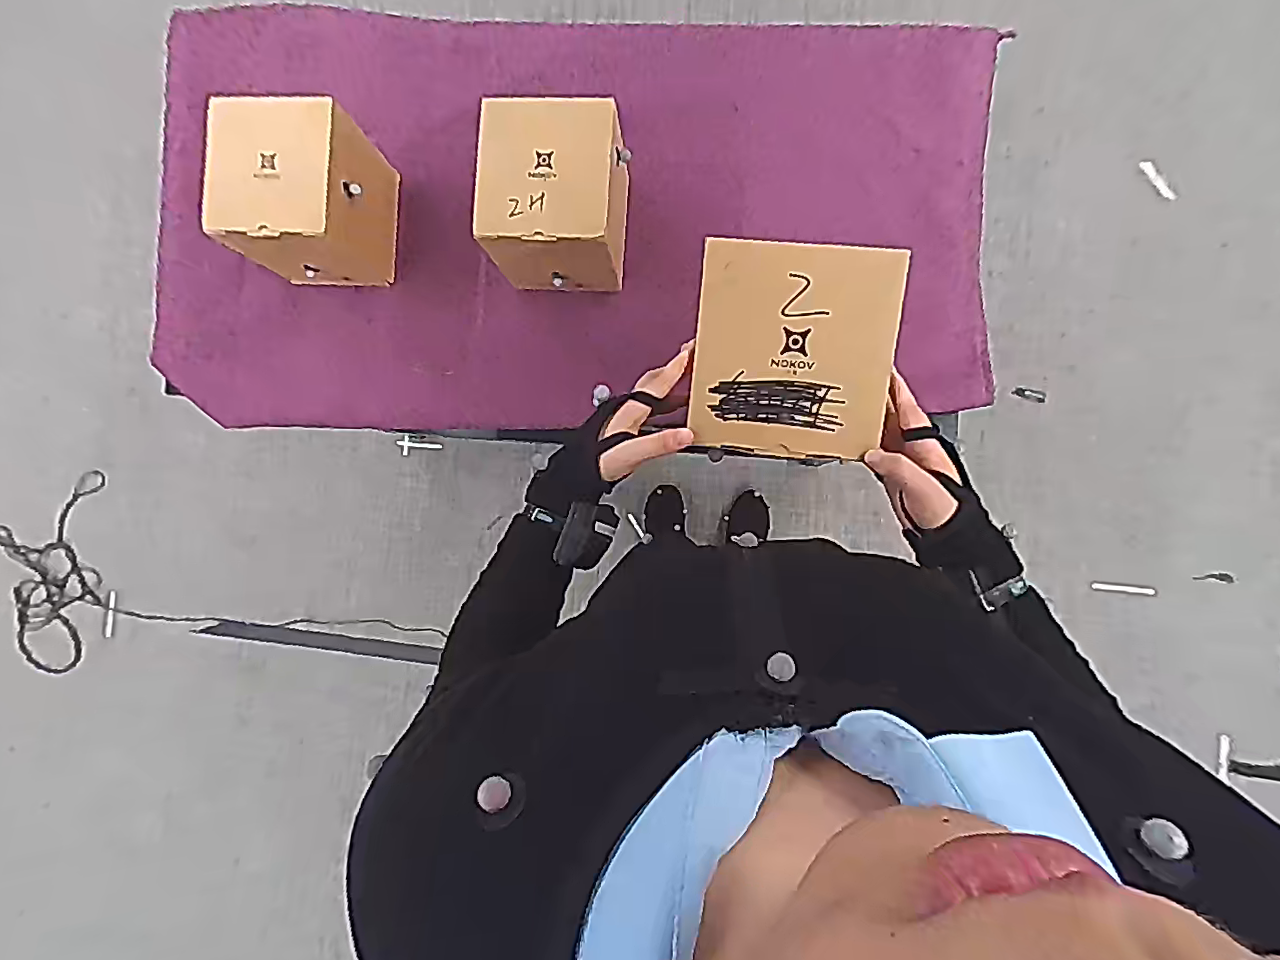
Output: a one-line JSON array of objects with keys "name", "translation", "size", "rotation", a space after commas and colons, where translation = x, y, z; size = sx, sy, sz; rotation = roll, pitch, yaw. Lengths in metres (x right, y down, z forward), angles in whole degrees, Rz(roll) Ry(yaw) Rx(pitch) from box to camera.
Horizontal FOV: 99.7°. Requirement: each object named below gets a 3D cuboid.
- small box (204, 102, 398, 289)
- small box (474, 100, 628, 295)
[{"name": "small box", "translation": [-0.461, -0.389, 0.761], "size": [0.168, 0.176, 0.179], "rotation": [2, 89, 4]}, {"name": "small box", "translation": [-0.109, -0.370, 0.731], "size": [0.168, 0.176, 0.179], "rotation": [3, 89, 5]}]
